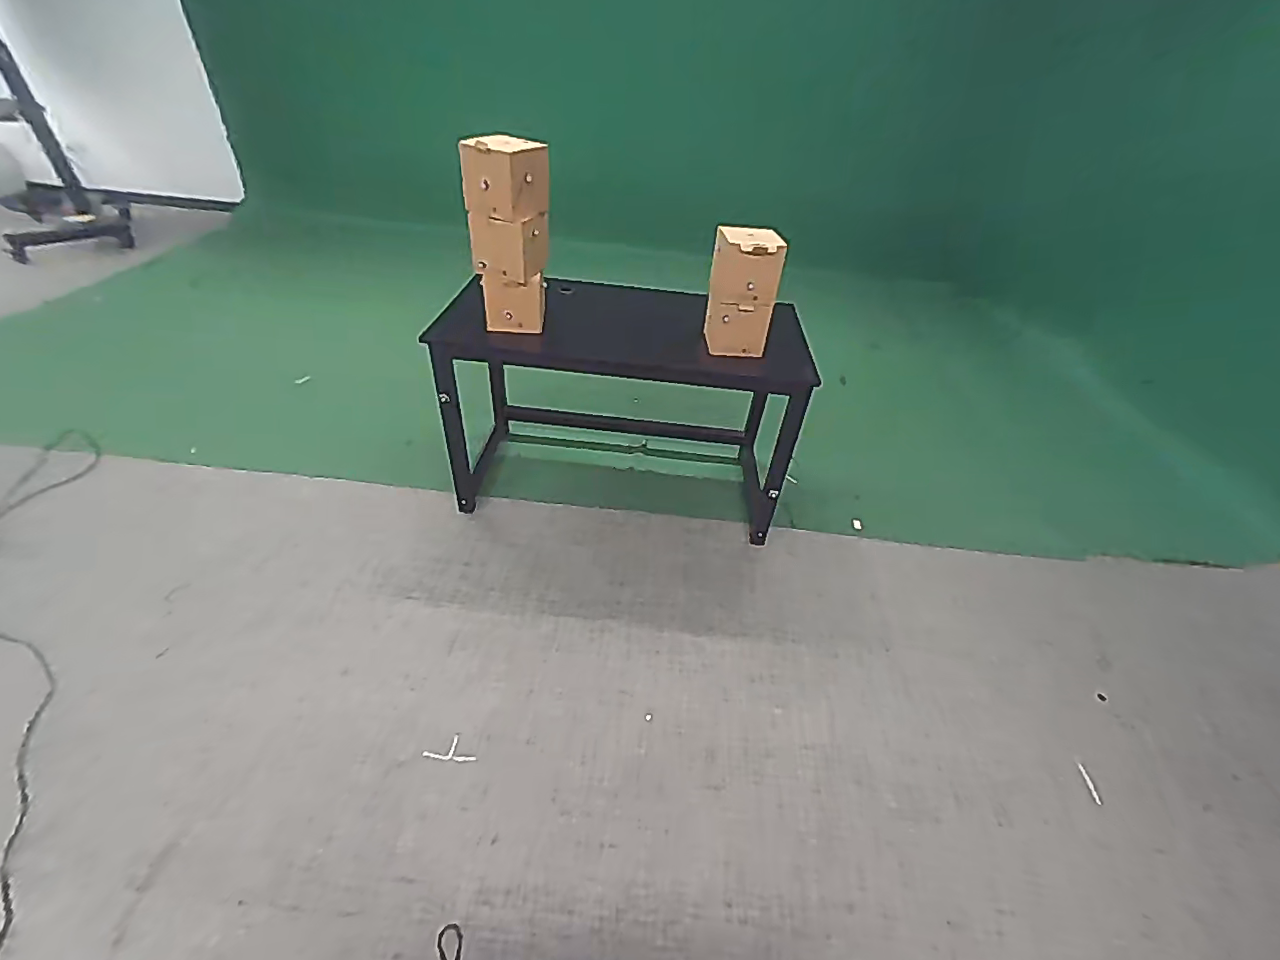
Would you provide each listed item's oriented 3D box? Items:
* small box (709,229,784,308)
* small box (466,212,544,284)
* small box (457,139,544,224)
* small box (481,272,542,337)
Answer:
[{"bbox_3d":[0.304,-0.624,1.594,0.168,0.176,0.179,1,40,-5],"label":"small box"},{"bbox_3d":[-0.388,-0.697,1.599,0.168,0.176,0.179,15,41,10],"label":"small box"},{"bbox_3d":[-0.376,-0.826,1.498,0.168,0.176,0.179,23,44,17],"label":"small box"},{"bbox_3d":[-0.398,-0.571,1.704,0.168,0.176,0.179,1,41,-7],"label":"small box"}]
